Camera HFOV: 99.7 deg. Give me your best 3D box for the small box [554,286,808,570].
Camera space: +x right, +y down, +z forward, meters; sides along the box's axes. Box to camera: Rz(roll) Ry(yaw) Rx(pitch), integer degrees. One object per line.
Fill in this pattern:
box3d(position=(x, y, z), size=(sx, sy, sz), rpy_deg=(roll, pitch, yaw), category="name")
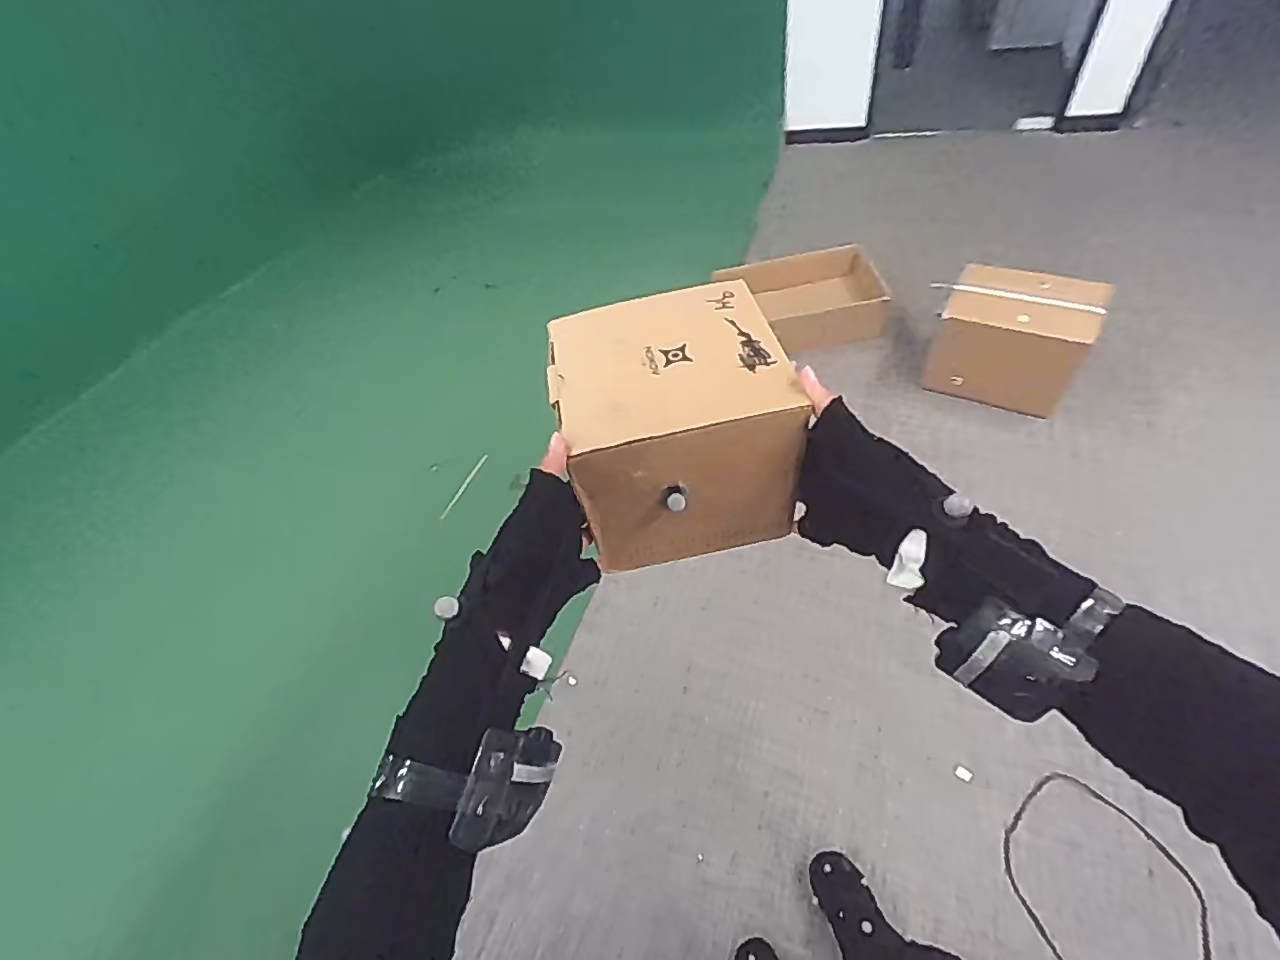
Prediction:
box3d(position=(0.033, -0.039, 0.480), size=(0.179, 0.176, 0.168), rpy_deg=(-12, 51, 1), category="small box")
